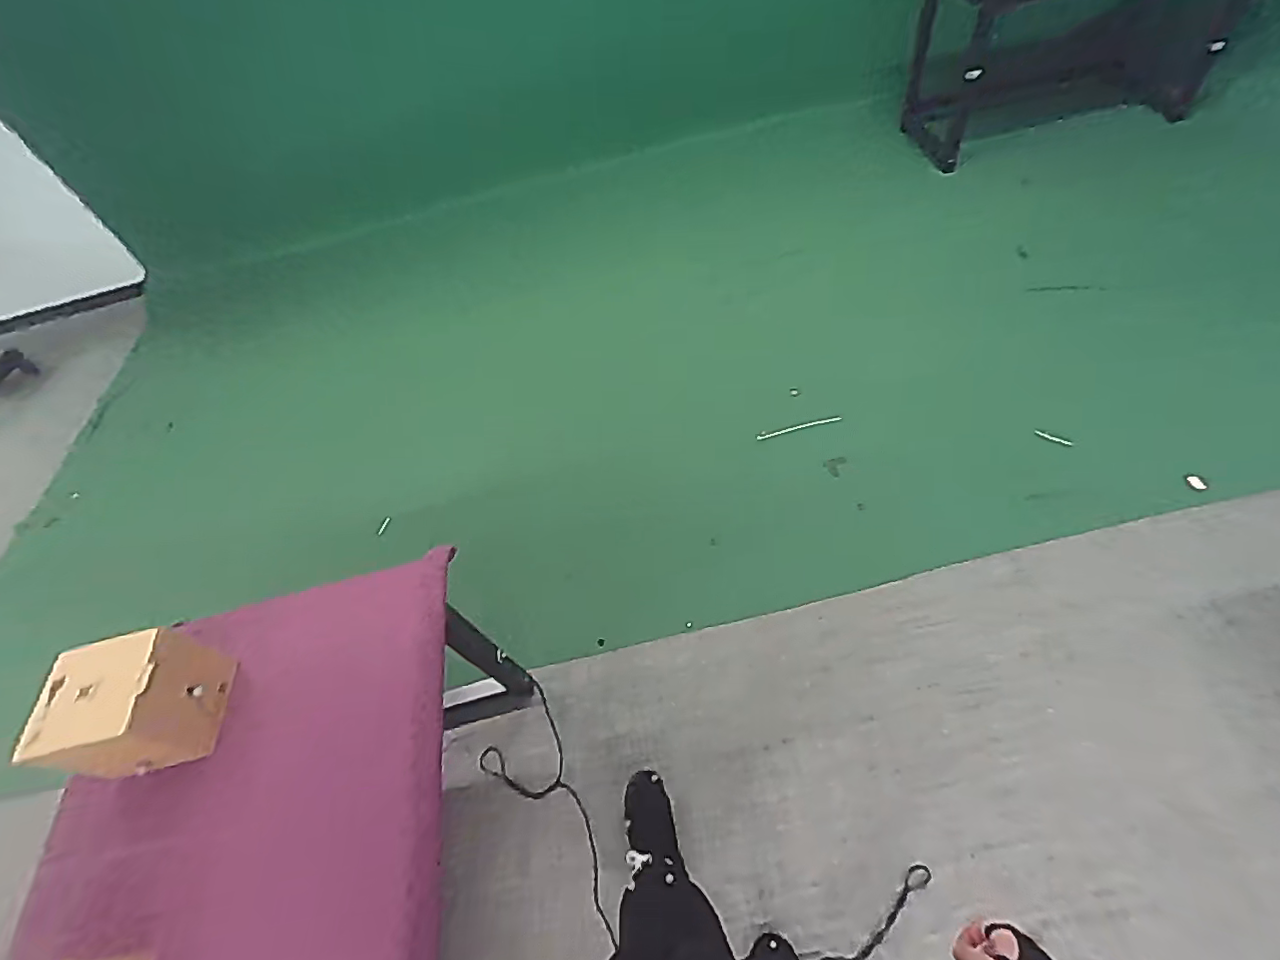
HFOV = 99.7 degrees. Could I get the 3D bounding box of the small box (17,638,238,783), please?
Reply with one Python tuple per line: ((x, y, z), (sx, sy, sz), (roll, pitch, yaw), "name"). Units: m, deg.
((-0.817, 0.383, 0.890), (0.179, 0.176, 0.168), (-14, 53, 1), "small box")
